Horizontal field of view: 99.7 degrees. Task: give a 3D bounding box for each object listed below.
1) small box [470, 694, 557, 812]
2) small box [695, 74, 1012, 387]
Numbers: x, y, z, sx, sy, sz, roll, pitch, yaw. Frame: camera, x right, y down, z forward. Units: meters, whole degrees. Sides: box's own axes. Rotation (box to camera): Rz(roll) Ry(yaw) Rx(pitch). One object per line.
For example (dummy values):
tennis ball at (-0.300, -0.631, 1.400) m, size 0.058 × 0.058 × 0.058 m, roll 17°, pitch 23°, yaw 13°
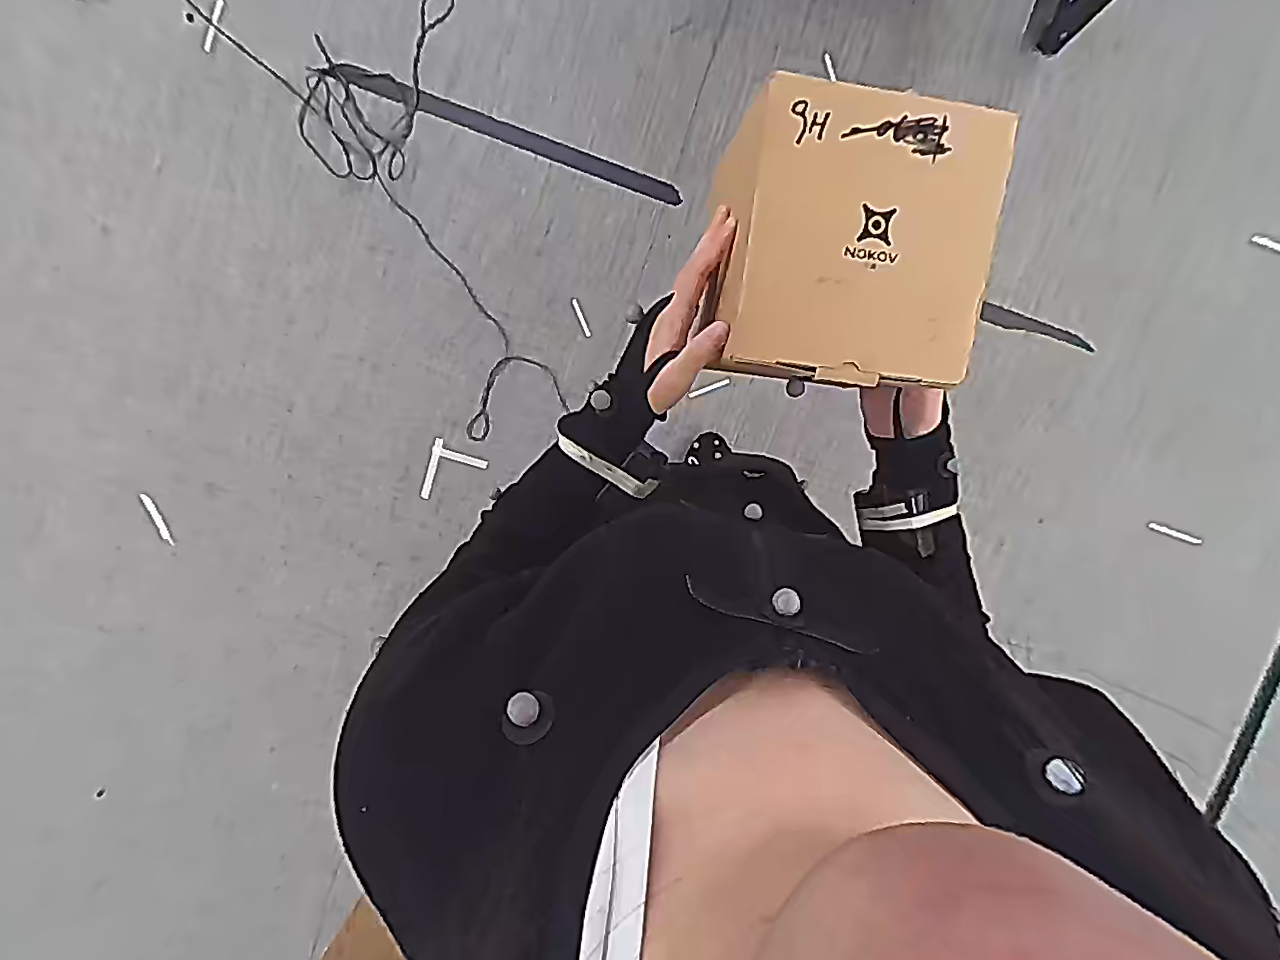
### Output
small box at (-0.285, 0.596, 1.164) m, size 0.168 × 0.176 × 0.179 m, roll 16°, pitch 93°, yaw -1°
small box at (0.145, -0.174, 0.435) m, size 0.168 × 0.176 × 0.179 m, roll 6°, pitch 100°, yaw -6°
